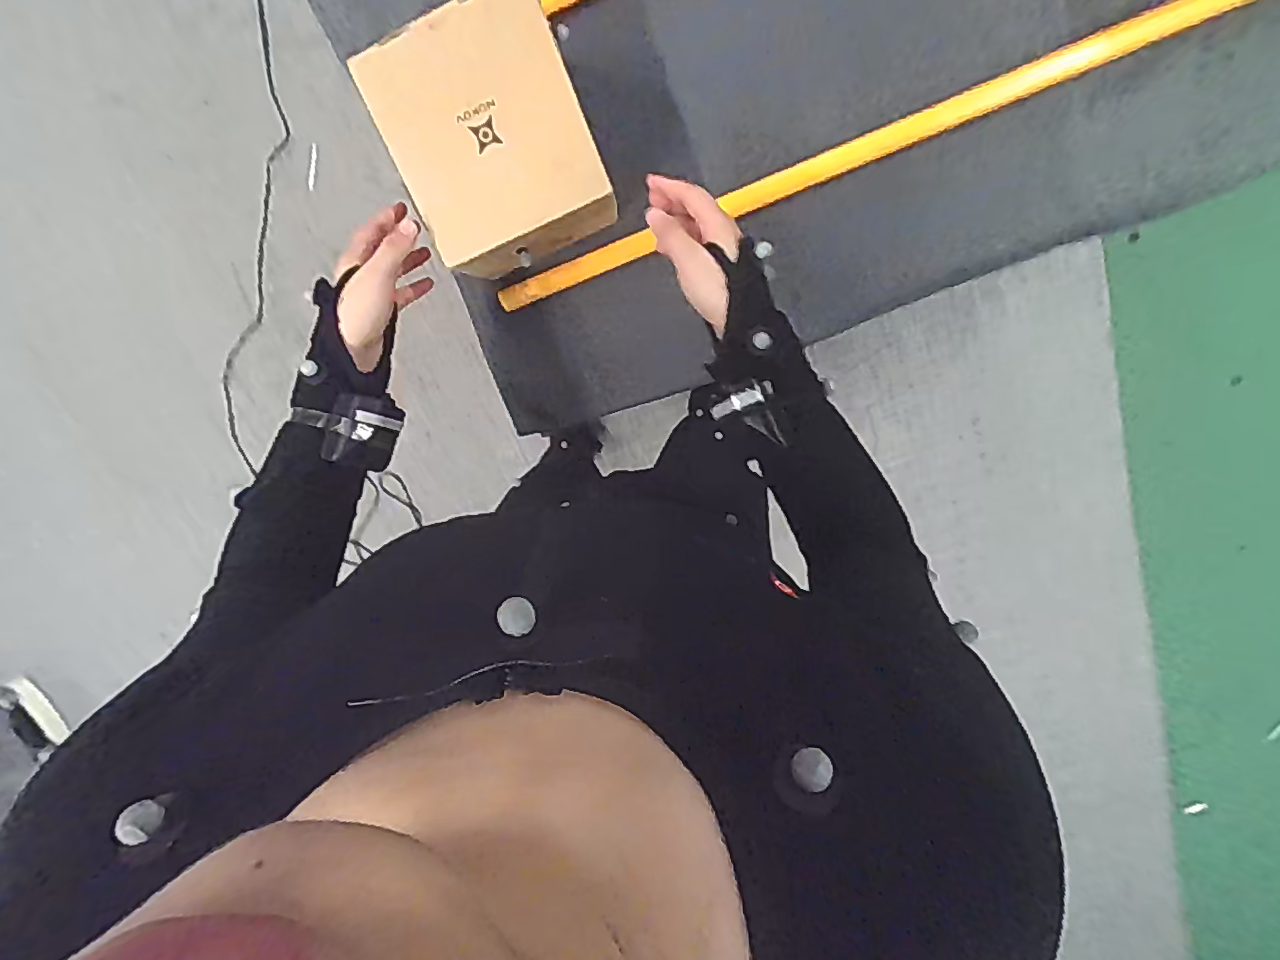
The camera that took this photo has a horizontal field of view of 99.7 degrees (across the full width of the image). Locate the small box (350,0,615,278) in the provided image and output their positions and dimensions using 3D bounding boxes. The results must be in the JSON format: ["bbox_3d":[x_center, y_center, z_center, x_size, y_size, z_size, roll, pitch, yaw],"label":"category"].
[{"bbox_3d":[-0.131,-0.312,0.531,0.168,0.176,0.179,-22,105,6],"label":"small box"}]
